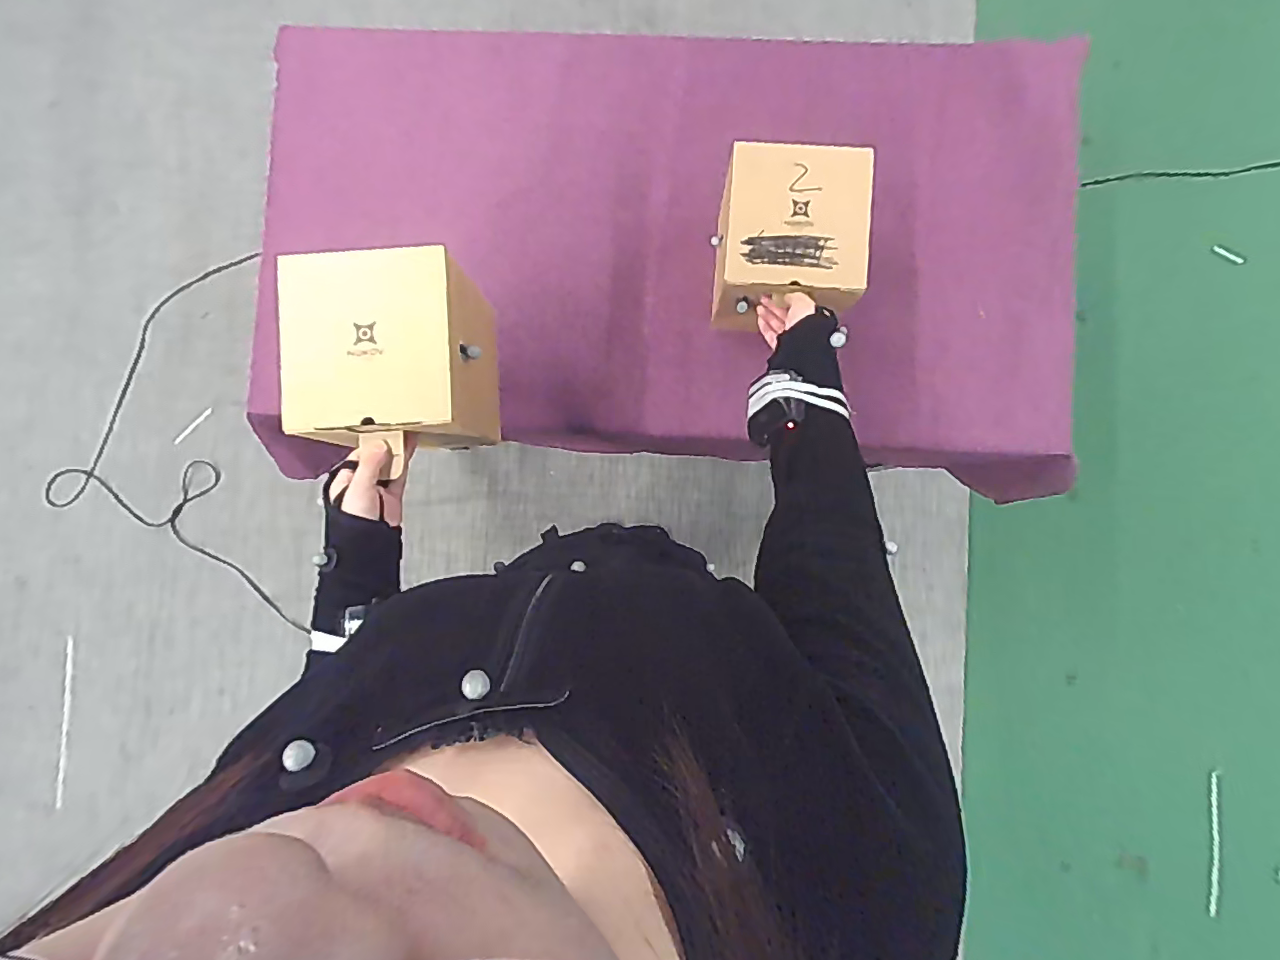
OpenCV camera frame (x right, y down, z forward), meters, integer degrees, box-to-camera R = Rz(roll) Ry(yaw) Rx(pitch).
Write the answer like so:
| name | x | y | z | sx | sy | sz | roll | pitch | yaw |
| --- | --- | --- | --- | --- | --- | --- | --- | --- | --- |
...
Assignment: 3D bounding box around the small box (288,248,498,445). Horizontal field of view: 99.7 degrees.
| name | x | y | z | sx | sy | sz | roll | pitch | yaw |
| --- | --- | --- | --- | --- | --- | --- | --- | --- | --- |
| small box | -0.266 | -0.139 | 0.616 | 0.168 | 0.176 | 0.179 | -3 | 88 | 1 |
